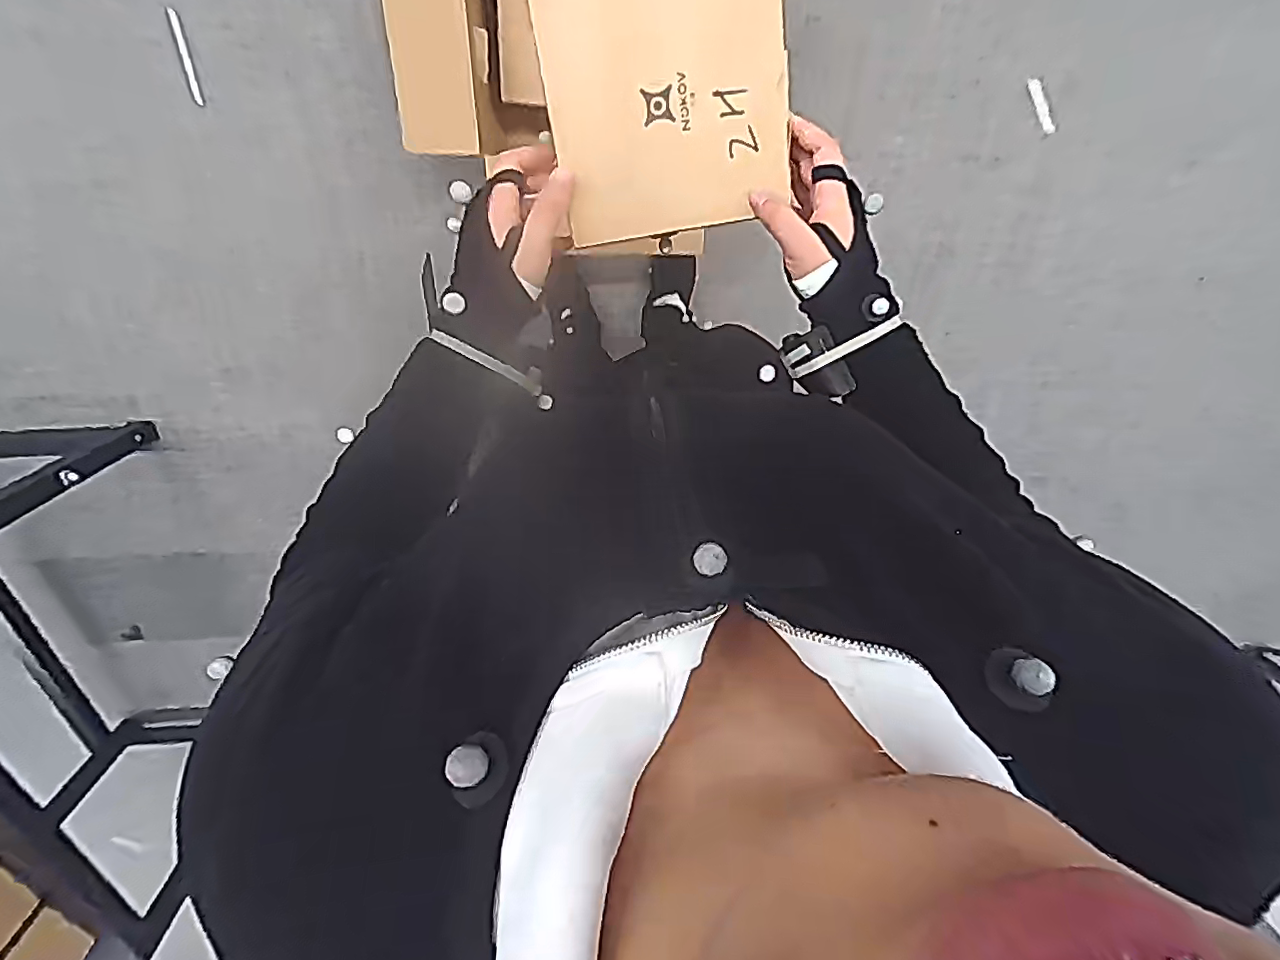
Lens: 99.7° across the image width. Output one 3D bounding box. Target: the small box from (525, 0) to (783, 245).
[{"bbox_3d":[0.013,-0.305,0.473,0.179,0.176,0.168,-10,114,0],"label":"small box"}]
